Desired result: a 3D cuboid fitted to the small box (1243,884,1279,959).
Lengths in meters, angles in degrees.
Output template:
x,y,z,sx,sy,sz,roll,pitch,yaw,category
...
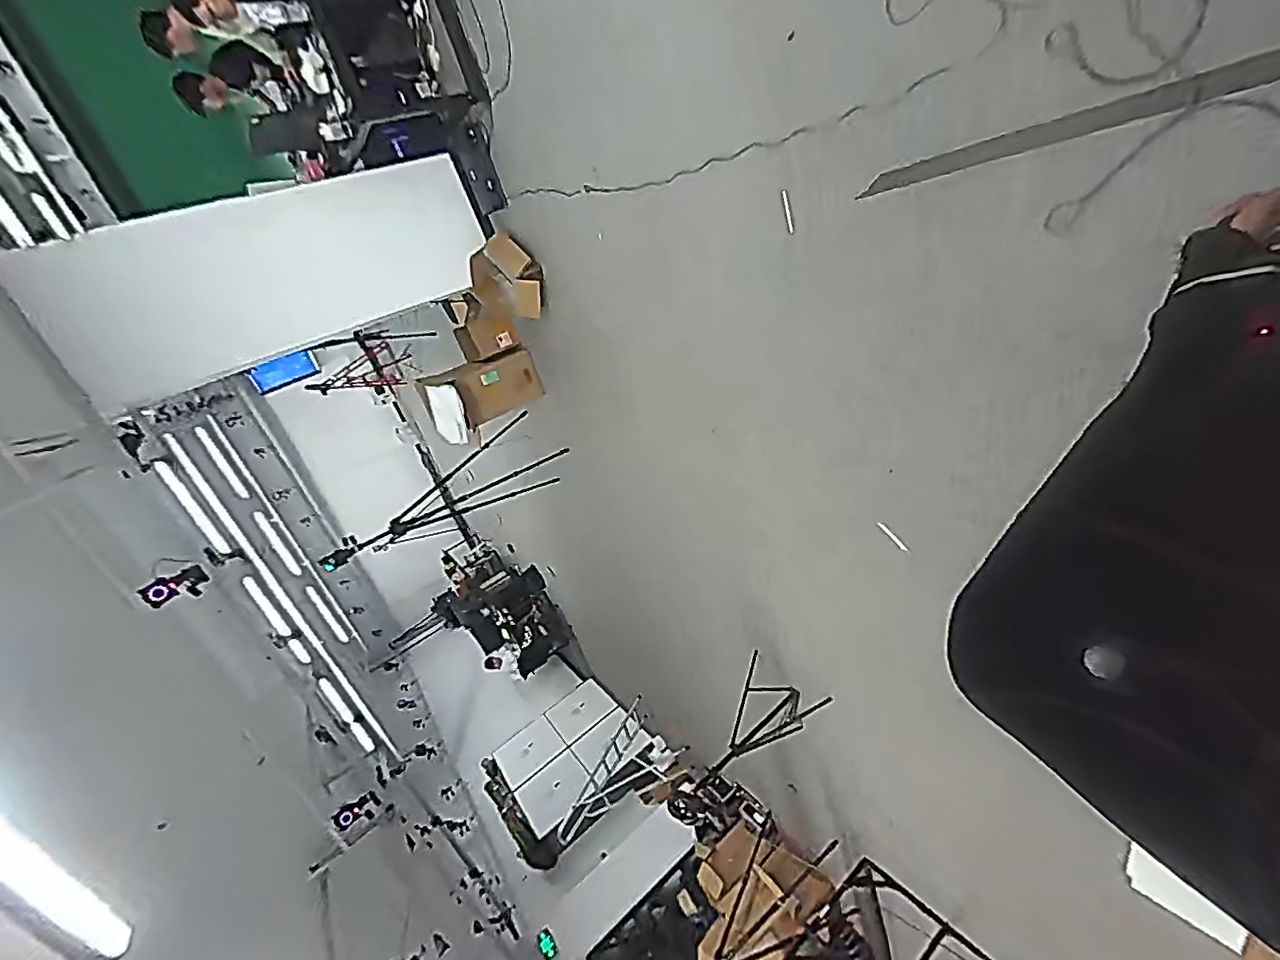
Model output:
x,y,z,sx,sy,sz,roll,pitch,yaw,category
1.252,0.902,0.985,0.179,0.176,0.168,11,128,59,small box
